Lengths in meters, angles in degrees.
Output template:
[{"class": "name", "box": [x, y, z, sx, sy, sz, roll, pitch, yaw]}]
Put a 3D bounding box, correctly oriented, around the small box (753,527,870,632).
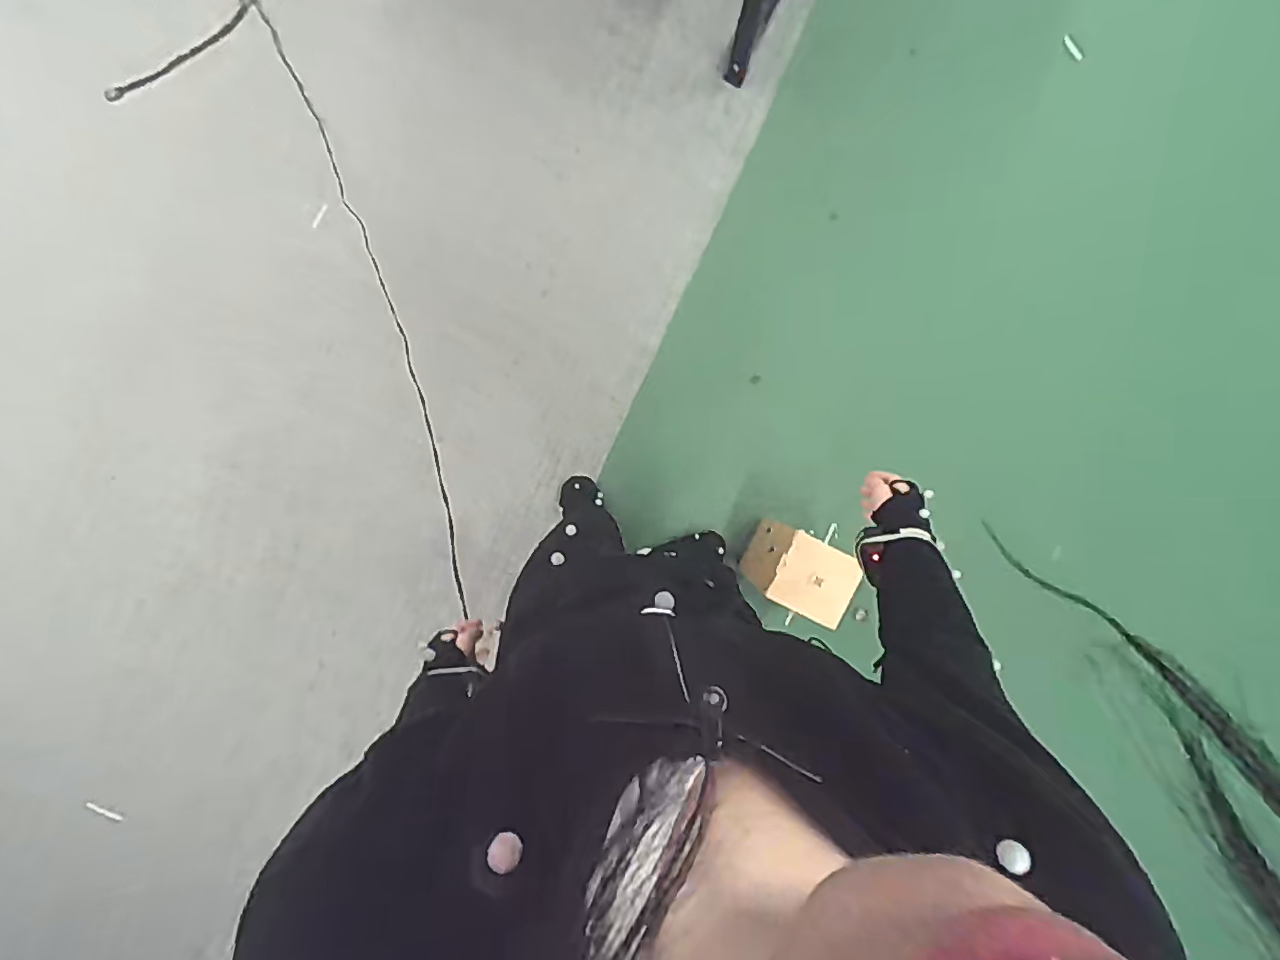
[{"class": "small box", "box": [0.387, 0.221, 1.252, 0.179, 0.176, 0.168, 26, 91, -1]}]
